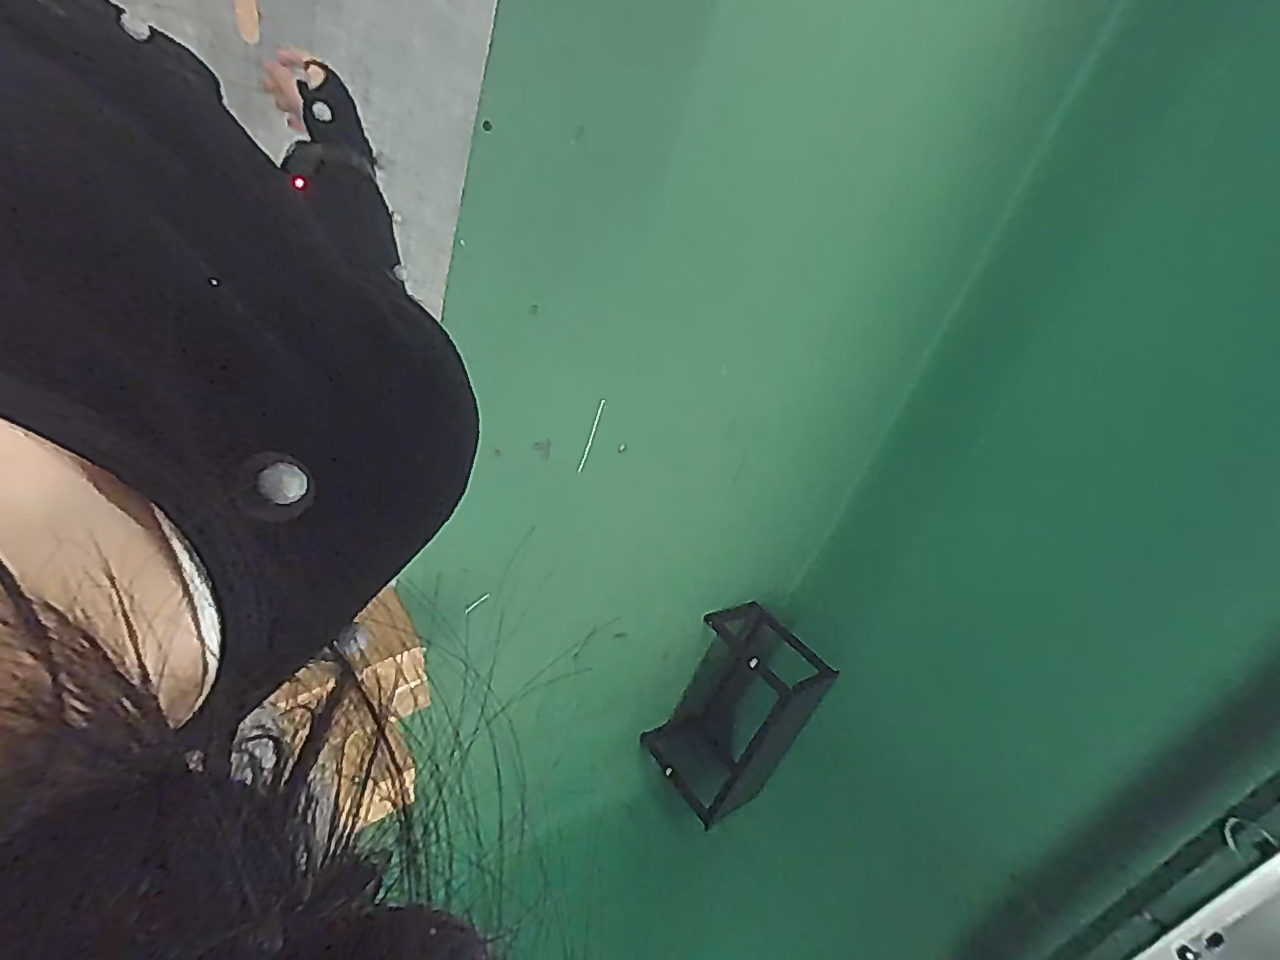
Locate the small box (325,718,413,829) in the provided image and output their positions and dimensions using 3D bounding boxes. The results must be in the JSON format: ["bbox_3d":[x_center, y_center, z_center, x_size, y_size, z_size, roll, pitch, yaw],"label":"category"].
[{"bbox_3d":[-0.737,0.788,1.471,0.179,0.176,0.168,-11,127,-38],"label":"small box"}]

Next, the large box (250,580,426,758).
[{"bbox_3d":[-0.964,0.593,1.752,0.408,0.320,0.320,-19,134,-35],"label":"large box"}]

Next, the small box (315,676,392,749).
[{"bbox_3d":[-0.831,0.699,1.570,0.168,0.176,0.179,-12,128,-38],"label":"small box"}]
